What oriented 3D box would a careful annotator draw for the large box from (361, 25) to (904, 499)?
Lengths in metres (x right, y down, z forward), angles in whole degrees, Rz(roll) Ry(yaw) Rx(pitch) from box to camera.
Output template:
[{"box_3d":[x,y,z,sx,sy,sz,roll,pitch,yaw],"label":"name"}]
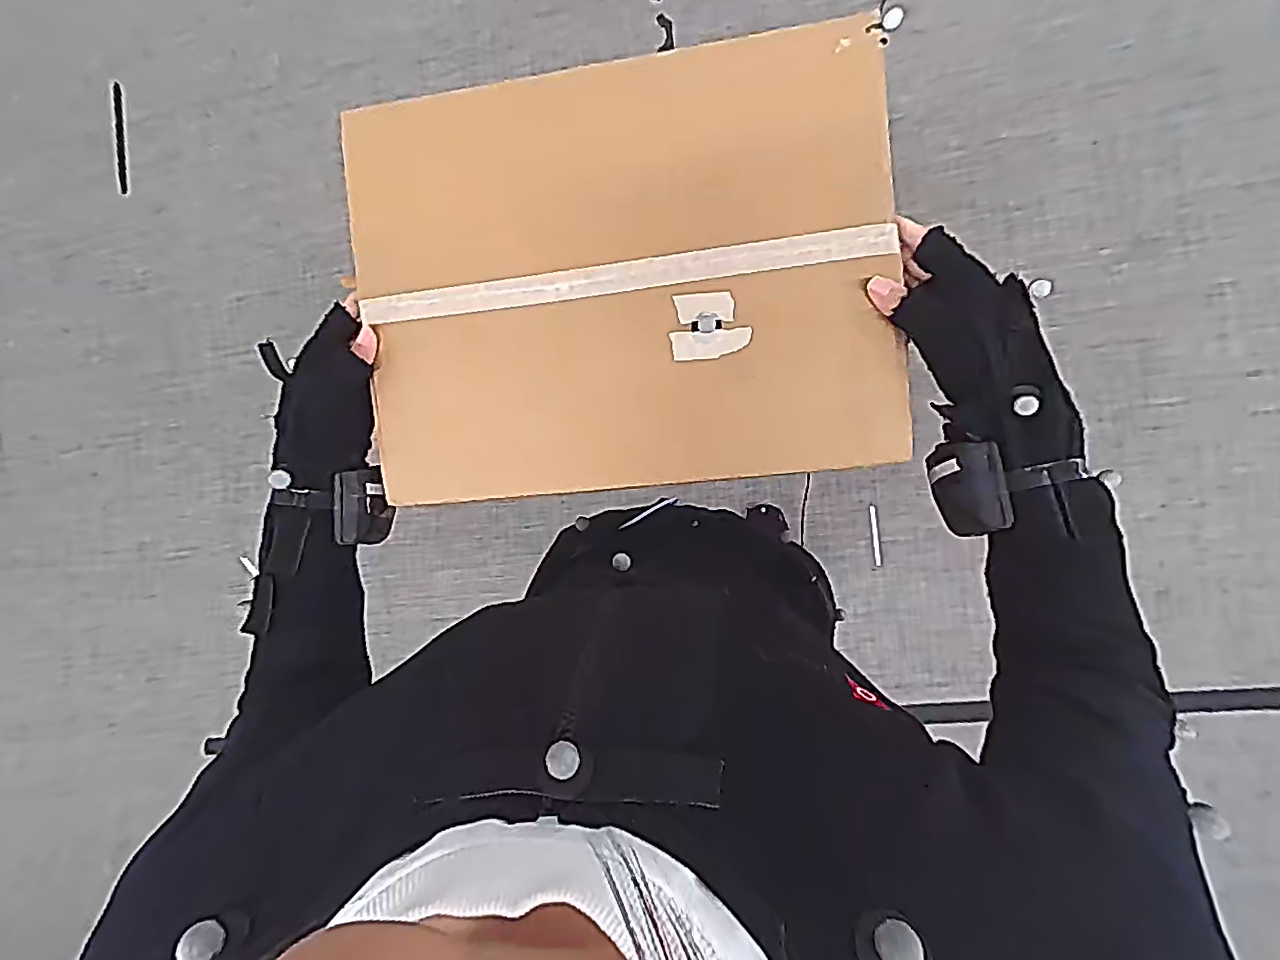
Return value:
[{"box_3d":[0.000,-0.164,0.566,0.408,0.320,0.320,-5,93,6],"label":"large box"}]
